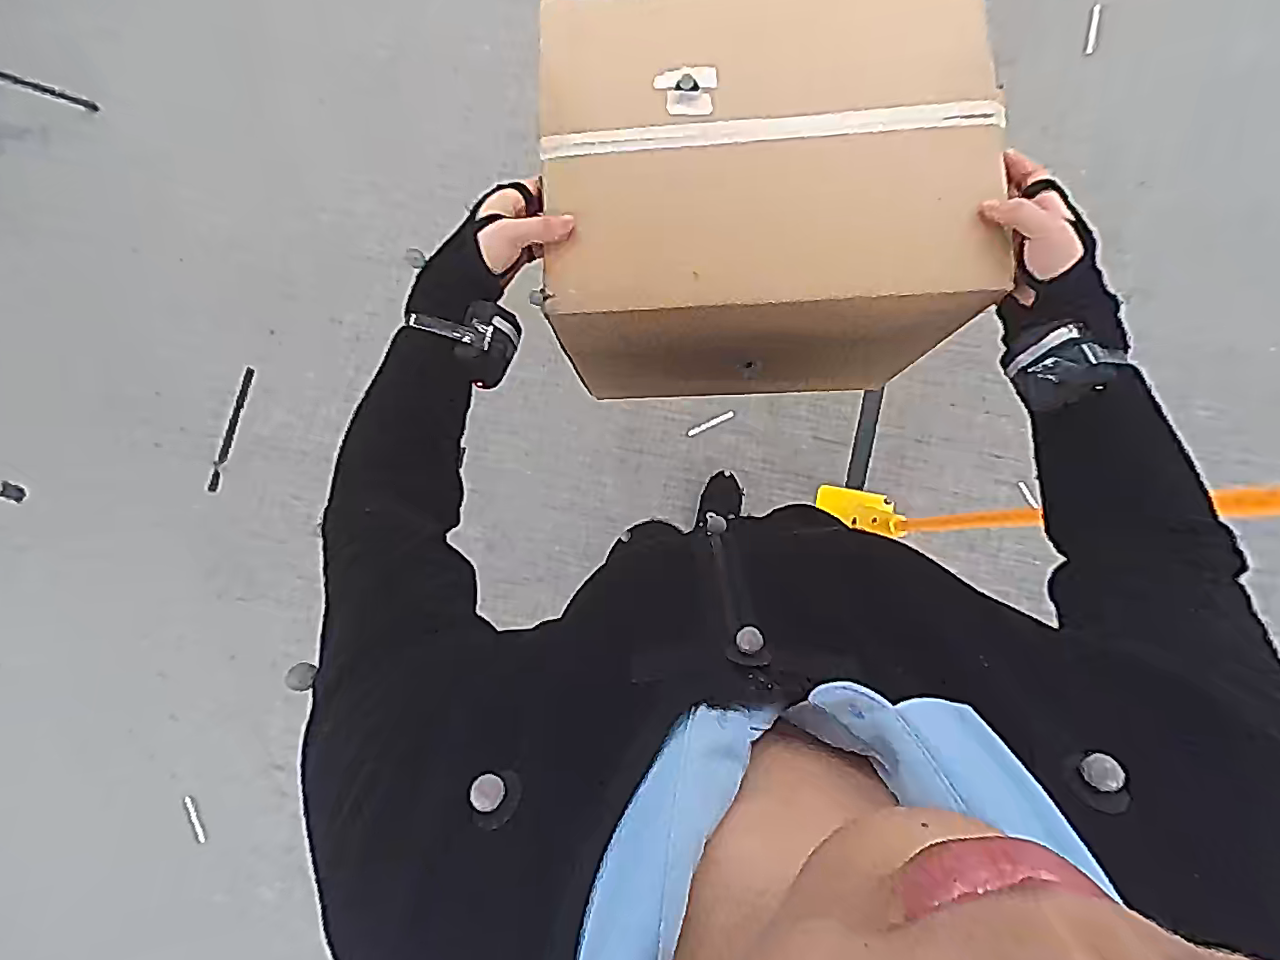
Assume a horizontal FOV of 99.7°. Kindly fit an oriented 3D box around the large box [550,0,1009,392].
[{"bbox_3d":[0.129,-0.300,0.642,0.408,0.320,0.320,-2,83,5],"label":"large box"}]
